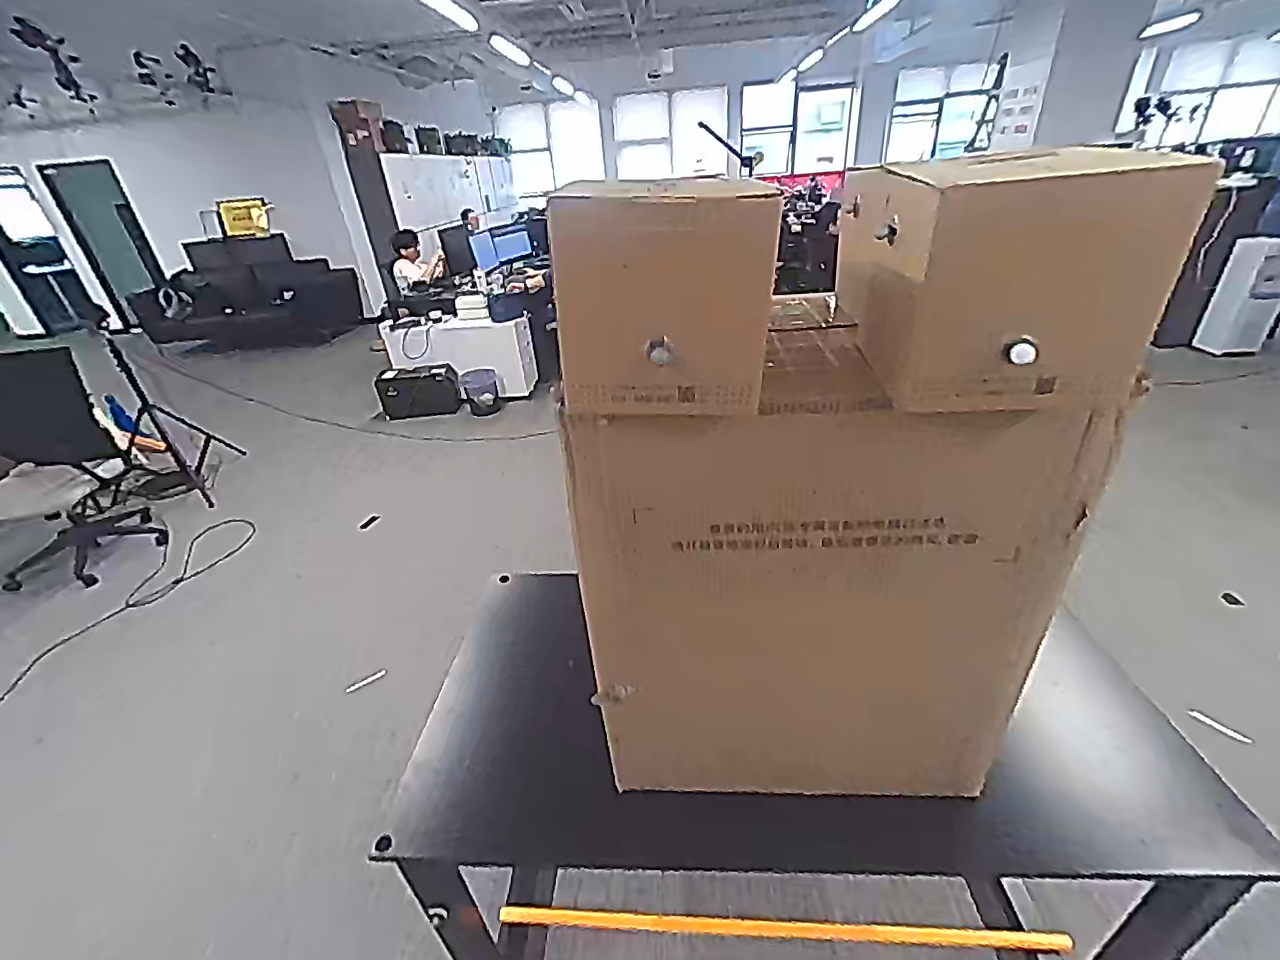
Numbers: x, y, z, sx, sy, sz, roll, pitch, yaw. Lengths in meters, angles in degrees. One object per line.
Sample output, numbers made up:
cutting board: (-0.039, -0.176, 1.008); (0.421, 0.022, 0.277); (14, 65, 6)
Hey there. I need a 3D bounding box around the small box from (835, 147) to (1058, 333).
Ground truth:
small box: (0.329, -0.275, 0.627); (0.168, 0.176, 0.179); (-3, 29, 8)
